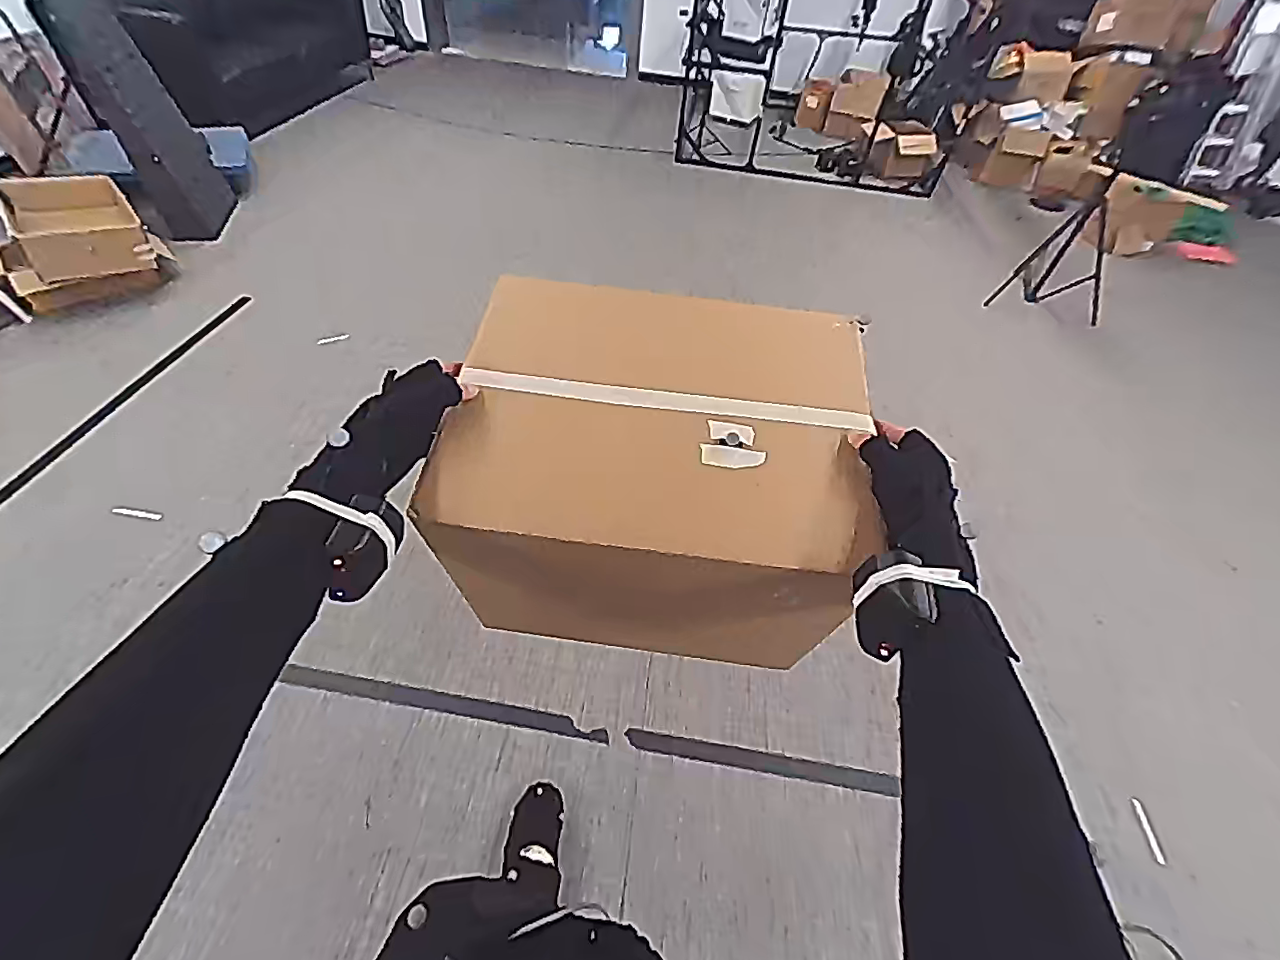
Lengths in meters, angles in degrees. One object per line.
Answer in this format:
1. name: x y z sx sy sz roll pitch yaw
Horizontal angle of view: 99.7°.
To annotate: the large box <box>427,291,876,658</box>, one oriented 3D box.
1. large box: 0.016 0.008 0.671 0.408 0.320 0.320 8 59 1
